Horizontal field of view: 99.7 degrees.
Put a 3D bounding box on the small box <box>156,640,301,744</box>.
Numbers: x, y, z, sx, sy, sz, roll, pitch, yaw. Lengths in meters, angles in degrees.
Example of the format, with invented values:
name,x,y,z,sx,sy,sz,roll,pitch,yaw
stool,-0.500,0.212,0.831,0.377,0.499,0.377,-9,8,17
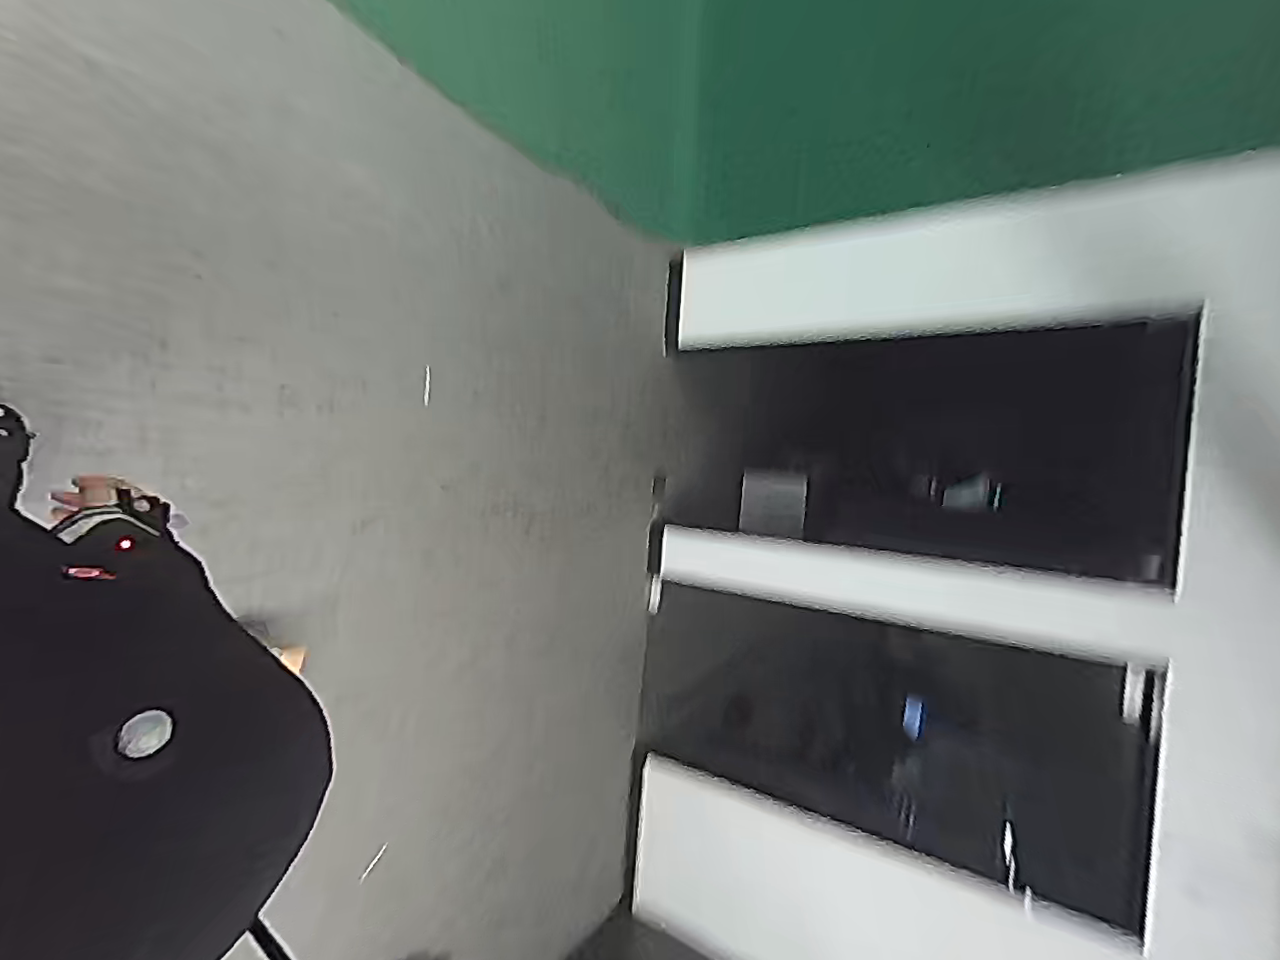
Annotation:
name,x,y,z,sx,sy,sz,roll,pitch,yaw
small box,-0.884,0.445,1.166,0.179,0.176,0.168,26,72,-57
